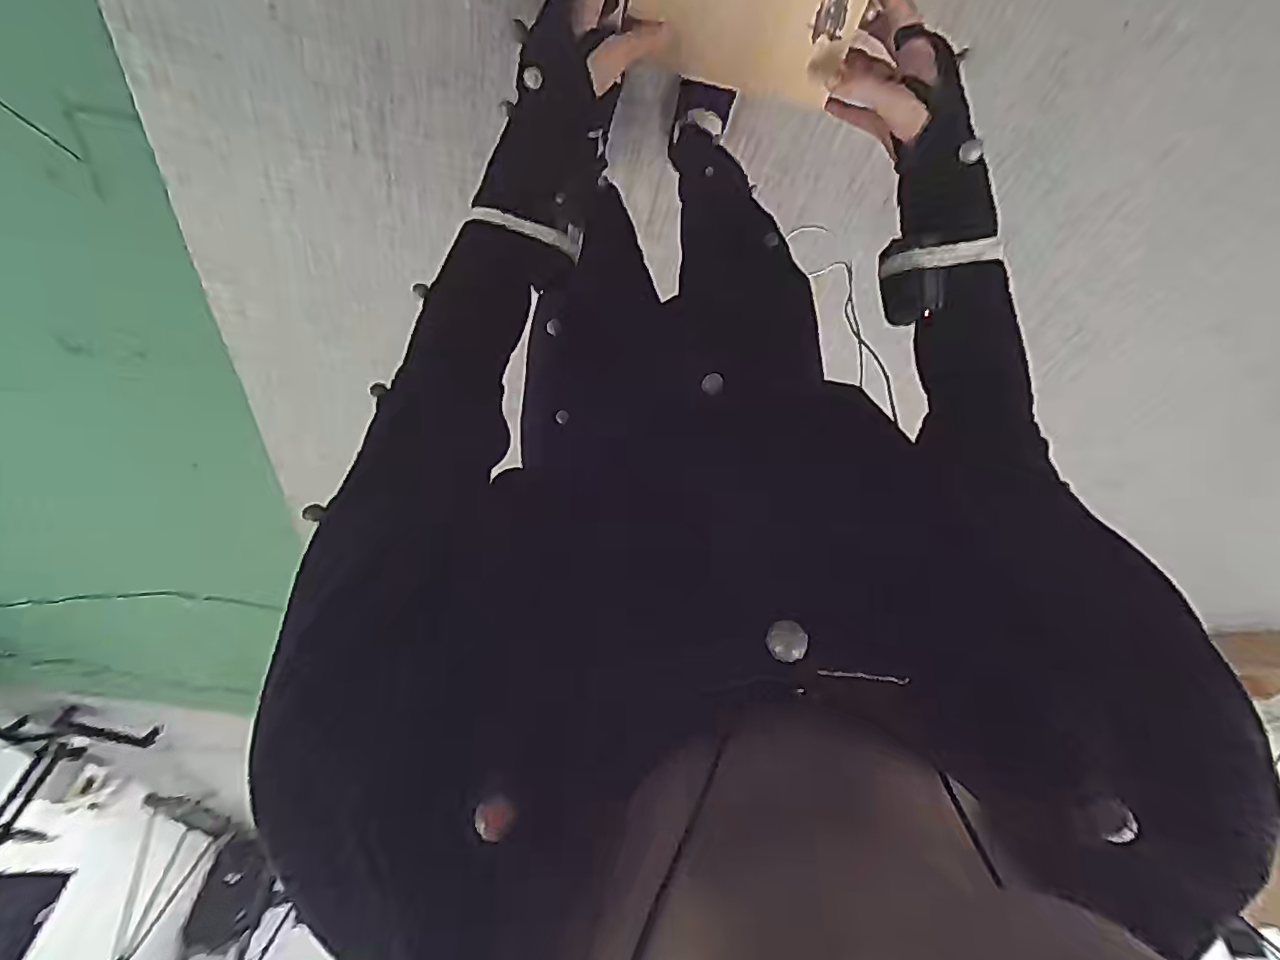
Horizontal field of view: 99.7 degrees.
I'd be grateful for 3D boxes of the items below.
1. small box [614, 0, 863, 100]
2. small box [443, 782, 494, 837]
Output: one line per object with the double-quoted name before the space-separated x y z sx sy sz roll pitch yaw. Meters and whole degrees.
"small box" 0.087 -0.432 0.409 0.179 0.176 0.168 11 146 -4
"small box" -0.706 1.361 2.233 0.168 0.176 0.179 13 137 -12
